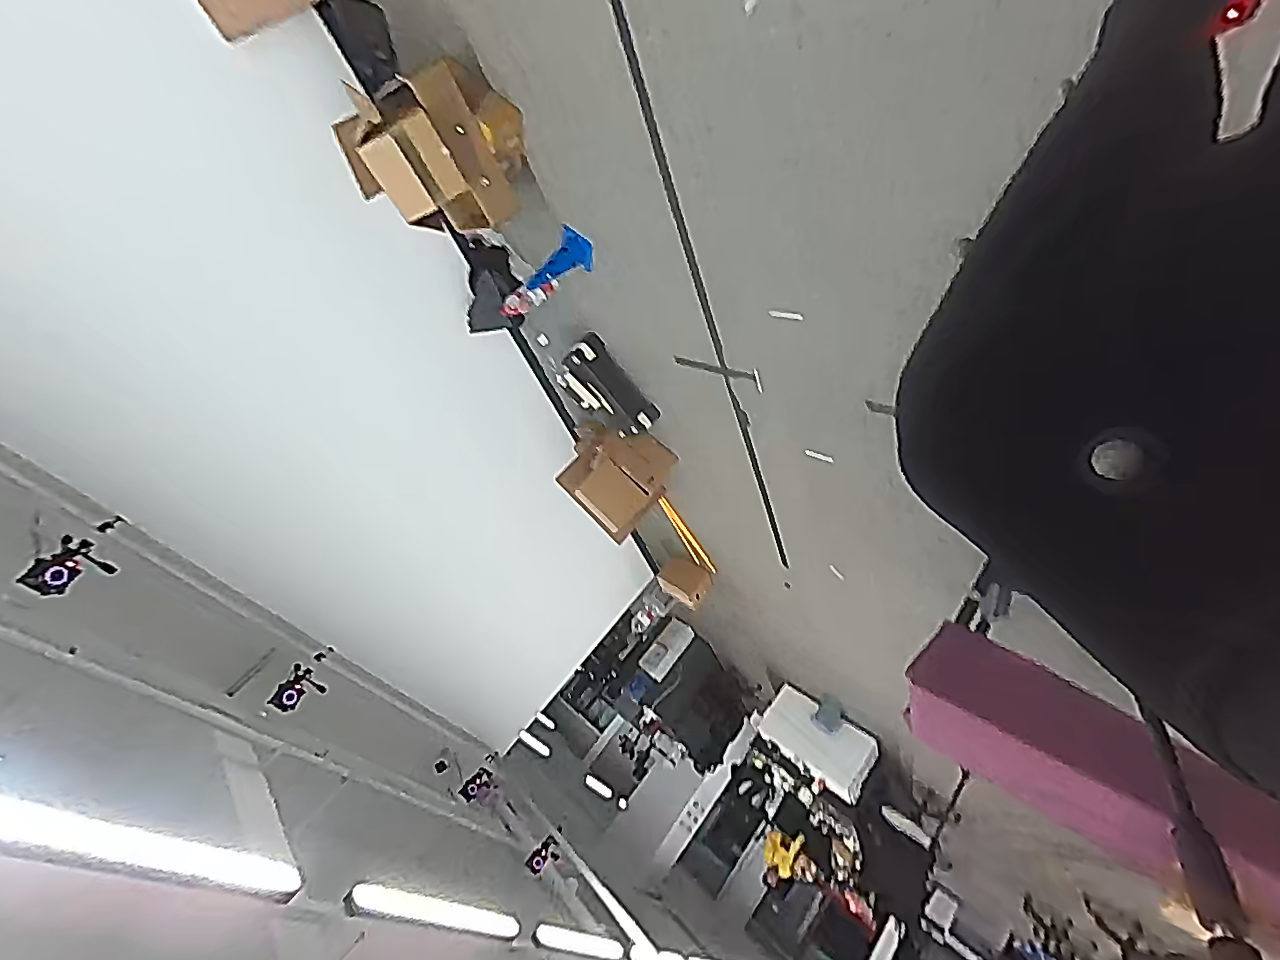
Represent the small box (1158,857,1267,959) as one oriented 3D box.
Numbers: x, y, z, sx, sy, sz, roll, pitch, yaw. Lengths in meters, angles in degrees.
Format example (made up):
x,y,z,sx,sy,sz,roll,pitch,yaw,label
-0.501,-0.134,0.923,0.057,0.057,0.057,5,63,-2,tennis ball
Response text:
x,y,z,sx,sy,sz,roll,pitch,yaw,label
1.675,1.253,1.584,0.168,0.176,0.179,24,152,41,small box
